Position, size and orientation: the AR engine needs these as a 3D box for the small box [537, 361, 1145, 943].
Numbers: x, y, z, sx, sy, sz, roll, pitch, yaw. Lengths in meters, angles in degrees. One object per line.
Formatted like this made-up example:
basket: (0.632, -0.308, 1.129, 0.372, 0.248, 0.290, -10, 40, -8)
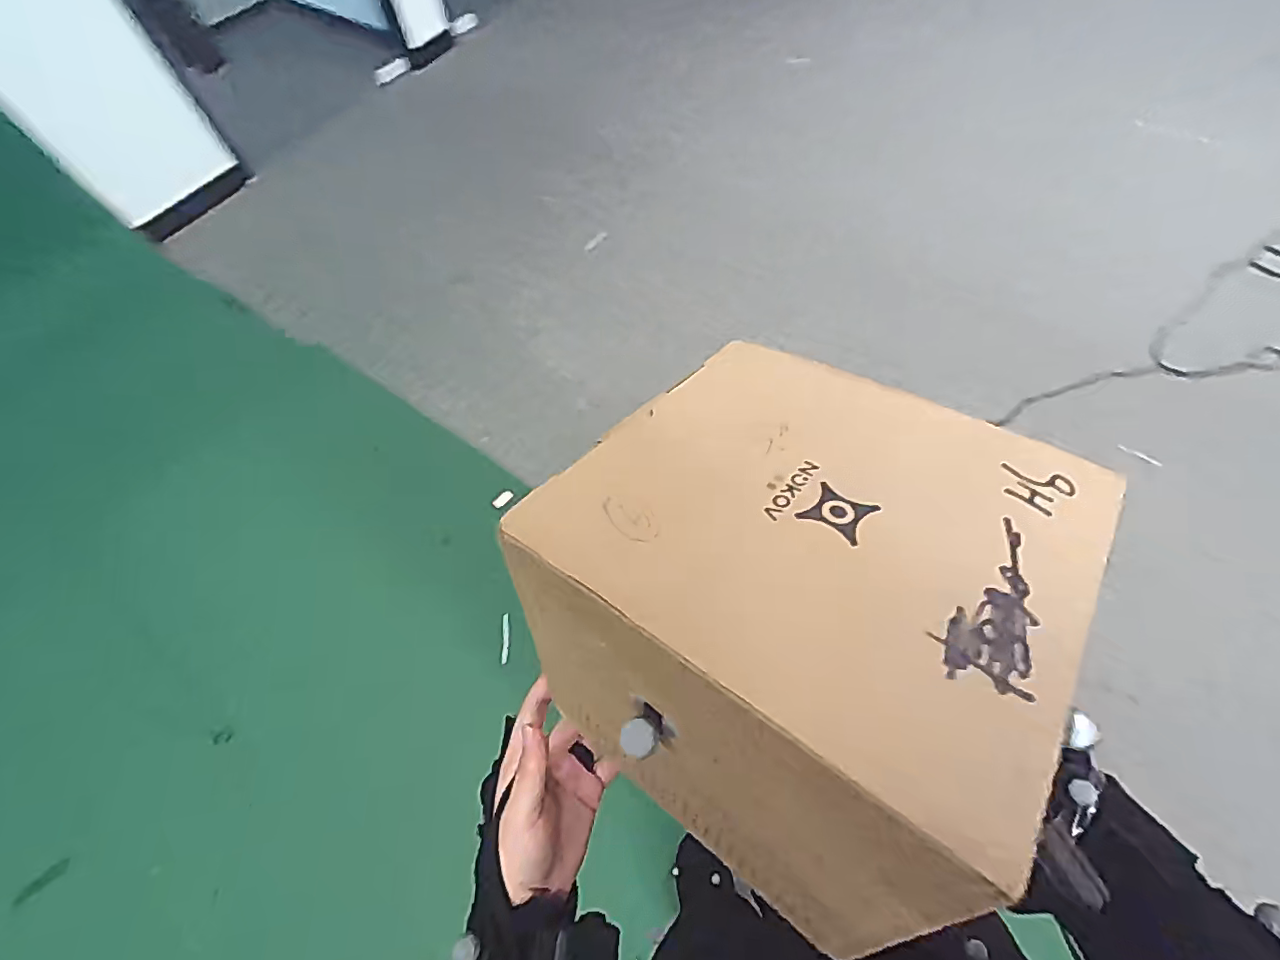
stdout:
small box: (0.079, 0.074, 0.260, 0.179, 0.176, 0.168, 29, 53, 28)
